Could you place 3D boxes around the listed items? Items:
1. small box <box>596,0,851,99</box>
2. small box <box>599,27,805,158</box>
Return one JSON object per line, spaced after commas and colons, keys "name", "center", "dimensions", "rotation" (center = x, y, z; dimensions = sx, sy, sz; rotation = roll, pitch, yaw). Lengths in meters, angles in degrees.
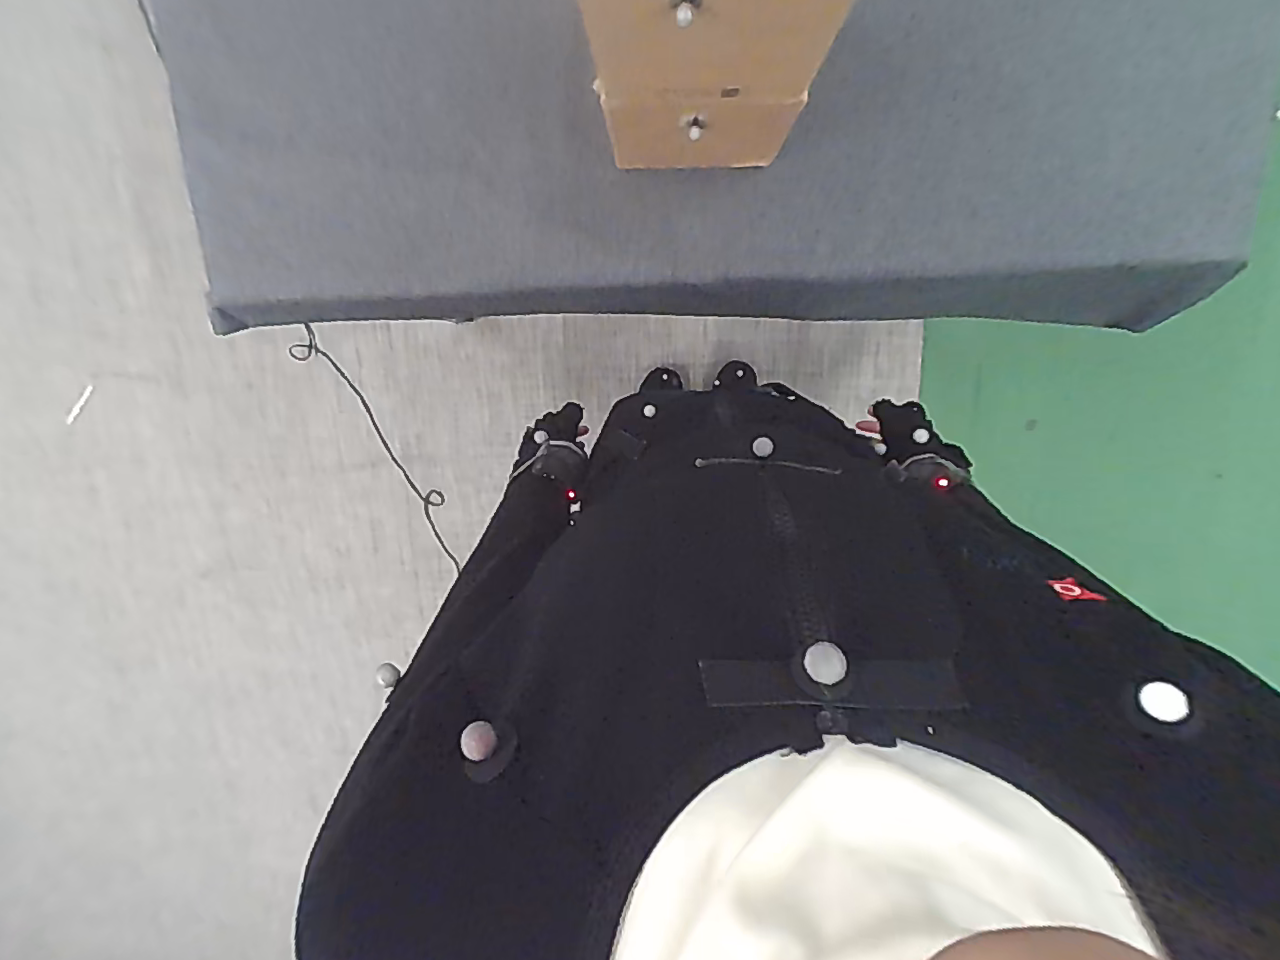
{"name": "small box", "center": [0.051, -0.393, 0.363], "dimensions": [0.168, 0.176, 0.179], "rotation": [-1, 104, 2]}
{"name": "small box", "center": [0.056, -0.427, 0.520], "dimensions": [0.179, 0.176, 0.168], "rotation": [0, 104, 2]}
